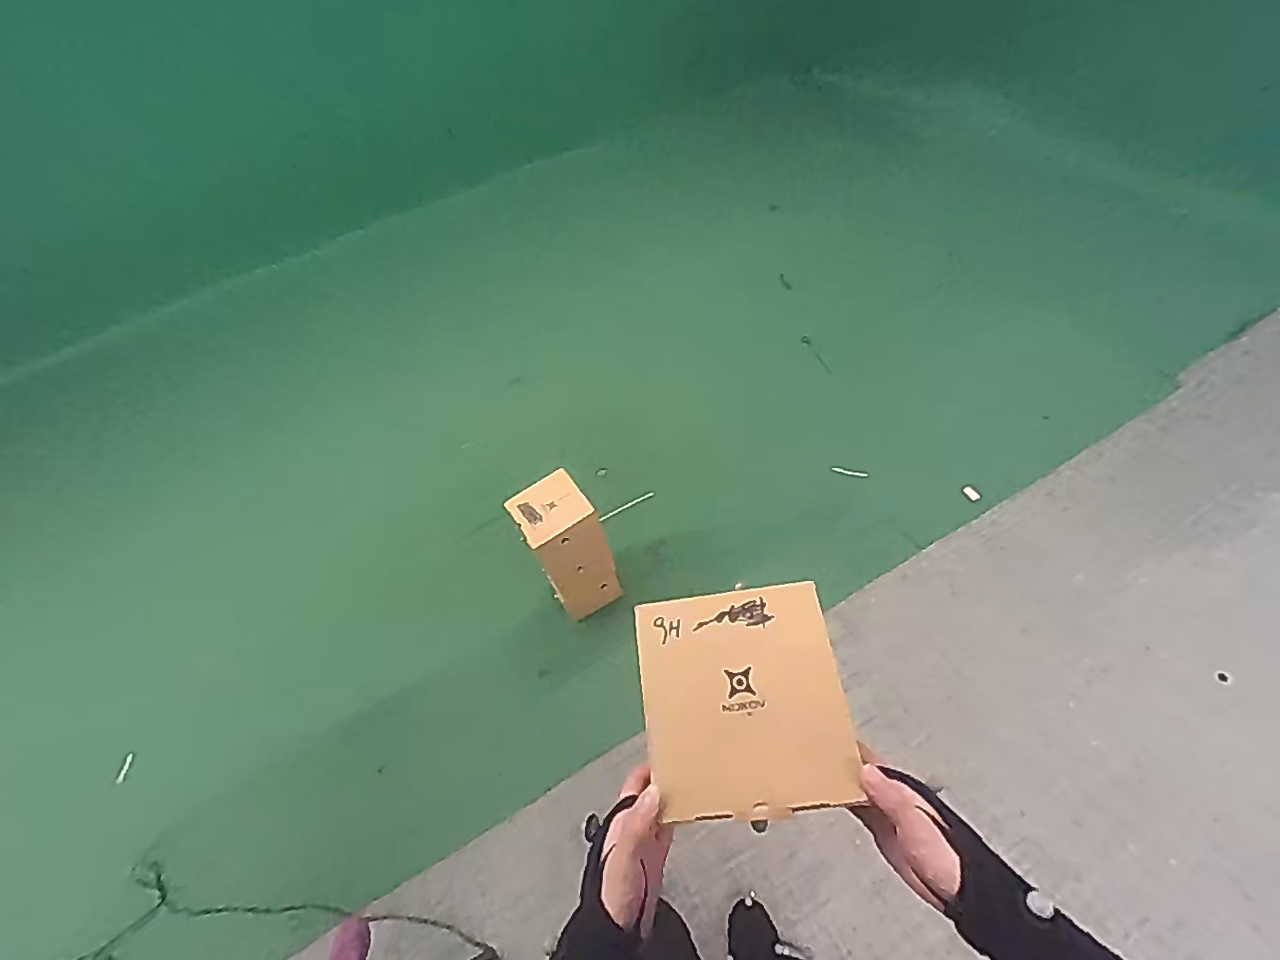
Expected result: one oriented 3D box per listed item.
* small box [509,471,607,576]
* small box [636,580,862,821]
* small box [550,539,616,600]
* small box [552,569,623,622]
[{"bbox_3d":[-0.205,0.117,1.393,0.179,0.176,0.168,-32,58,-14],"label":"small box"},{"bbox_3d":[0.095,0.213,0.521,0.168,0.176,0.179,-9,61,5],"label":"small box"},{"bbox_3d":[-0.180,0.208,1.527,0.179,0.176,0.168,-32,57,-11],"label":"small box"},{"bbox_3d":[-0.165,0.304,1.657,0.179,0.176,0.168,-28,56,-11],"label":"small box"}]
